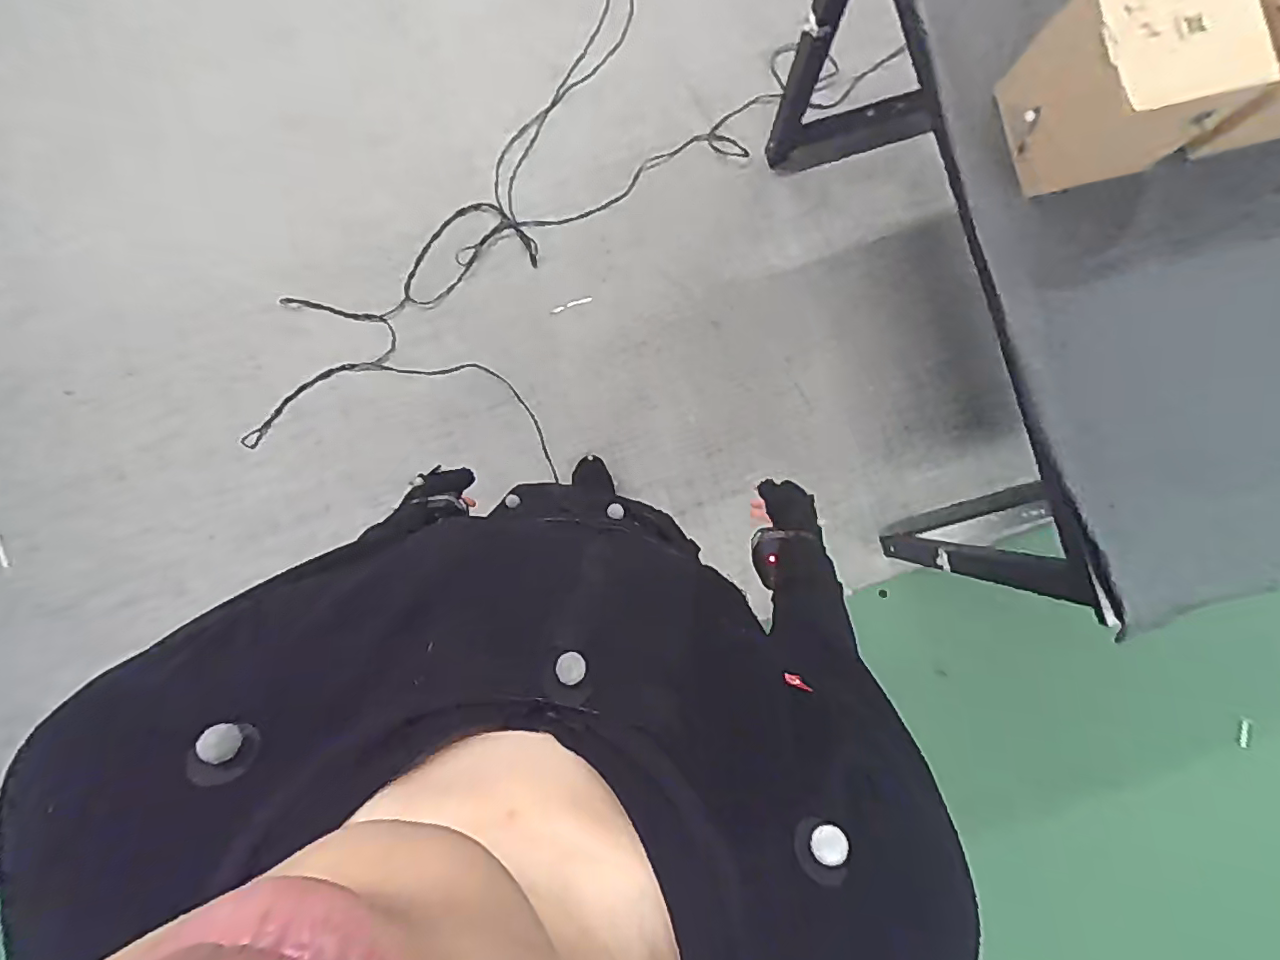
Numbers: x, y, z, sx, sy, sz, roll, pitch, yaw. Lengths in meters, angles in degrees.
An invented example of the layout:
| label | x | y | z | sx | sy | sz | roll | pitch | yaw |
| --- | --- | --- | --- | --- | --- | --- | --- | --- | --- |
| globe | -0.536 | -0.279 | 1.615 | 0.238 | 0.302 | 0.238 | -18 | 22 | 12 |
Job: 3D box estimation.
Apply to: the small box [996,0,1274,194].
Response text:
| label | x | y | z | sx | sy | sz | roll | pitch | yaw |
| --- | --- | --- | --- | --- | --- | --- | --- | --- | --- |
| small box | 0.598 | -0.494 | 0.676 | 0.179 | 0.176 | 0.168 | -14 | 88 | 0 |

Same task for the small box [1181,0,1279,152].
| label | x | y | z | sx | sy | sz | roll | pitch | yaw |
| --- | --- | --- | --- | --- | --- | --- | --- | --- | --- |
| small box | 0.820 | -0.547 | 0.675 | 0.179 | 0.176 | 0.168 | -13 | 89 | 0 |
